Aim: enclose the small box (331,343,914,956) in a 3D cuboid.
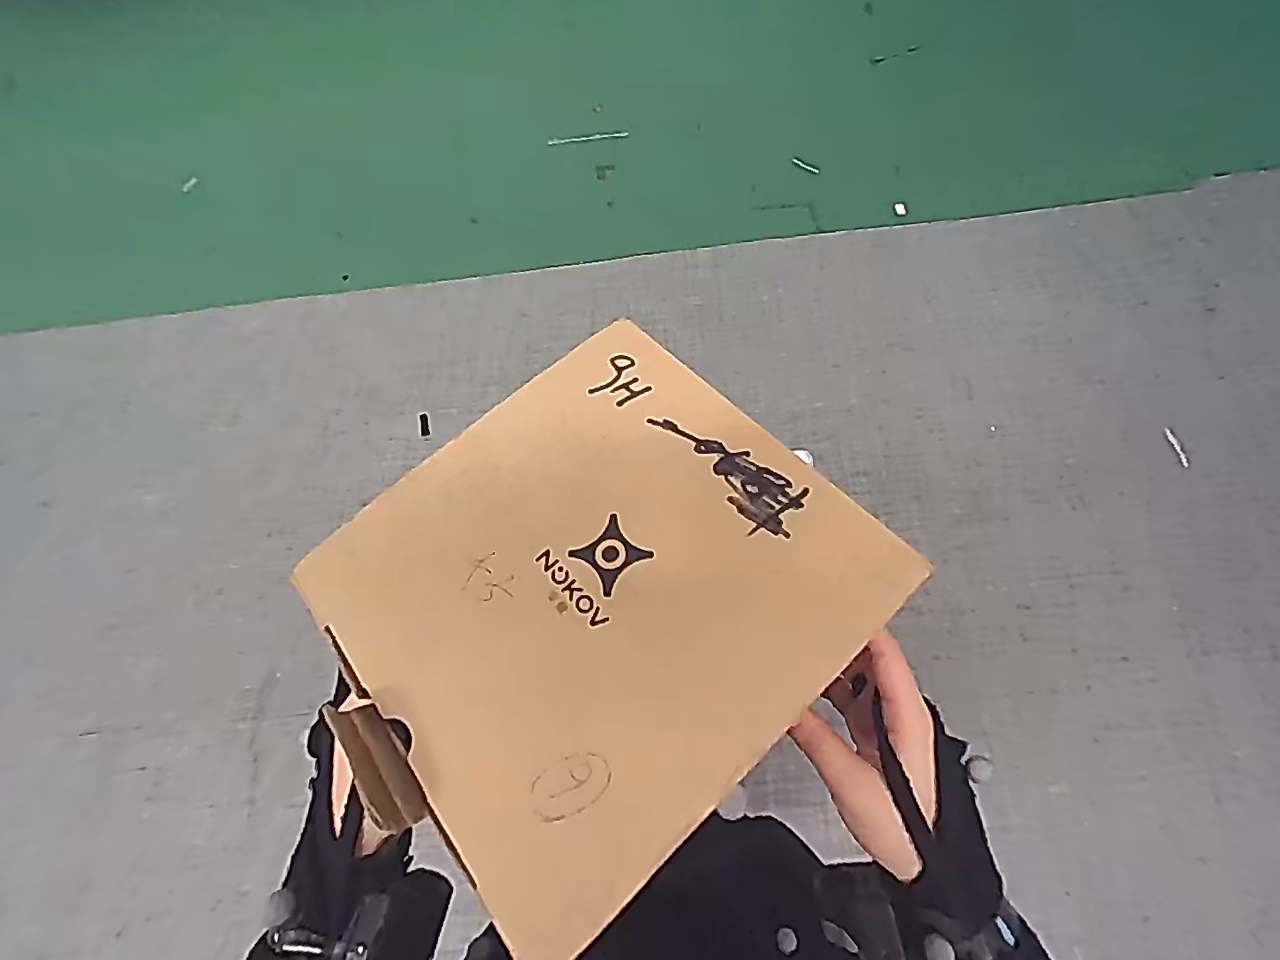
[{"bbox_3d":[-0.004,0.074,0.282,0.179,0.176,0.168,-41,67,-13],"label":"small box"}]
